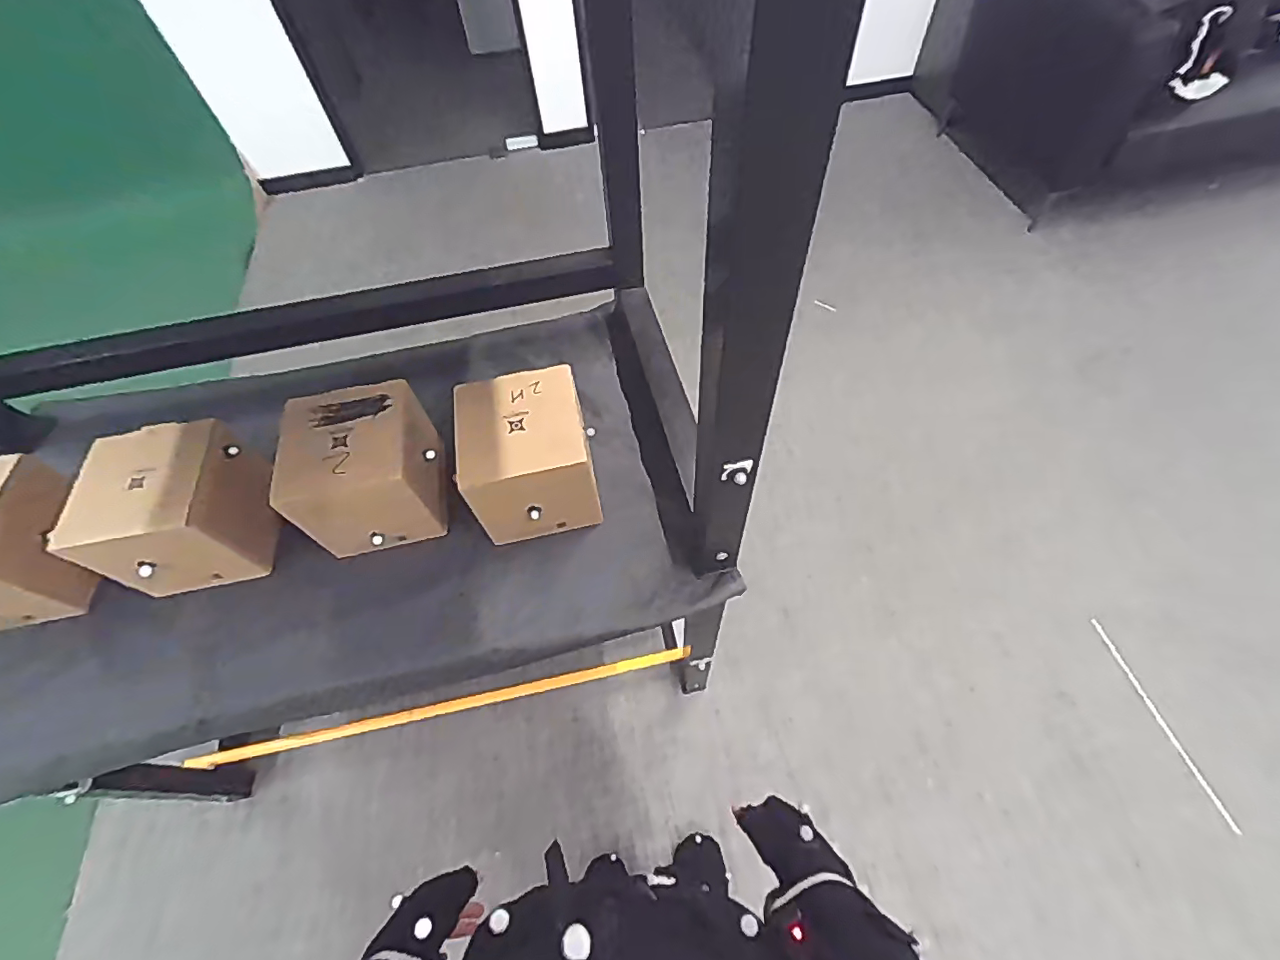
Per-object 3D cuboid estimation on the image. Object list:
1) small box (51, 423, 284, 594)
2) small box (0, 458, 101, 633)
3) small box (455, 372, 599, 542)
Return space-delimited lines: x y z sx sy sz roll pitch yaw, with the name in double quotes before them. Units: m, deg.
"small box" -0.644 0.050 0.768 0.168 0.176 0.179 -11 57 -4
"small box" -0.892 0.096 0.748 0.168 0.176 0.179 -10 58 -3
"small box" -0.159 -0.024 0.785 0.168 0.176 0.179 -11 57 -4
